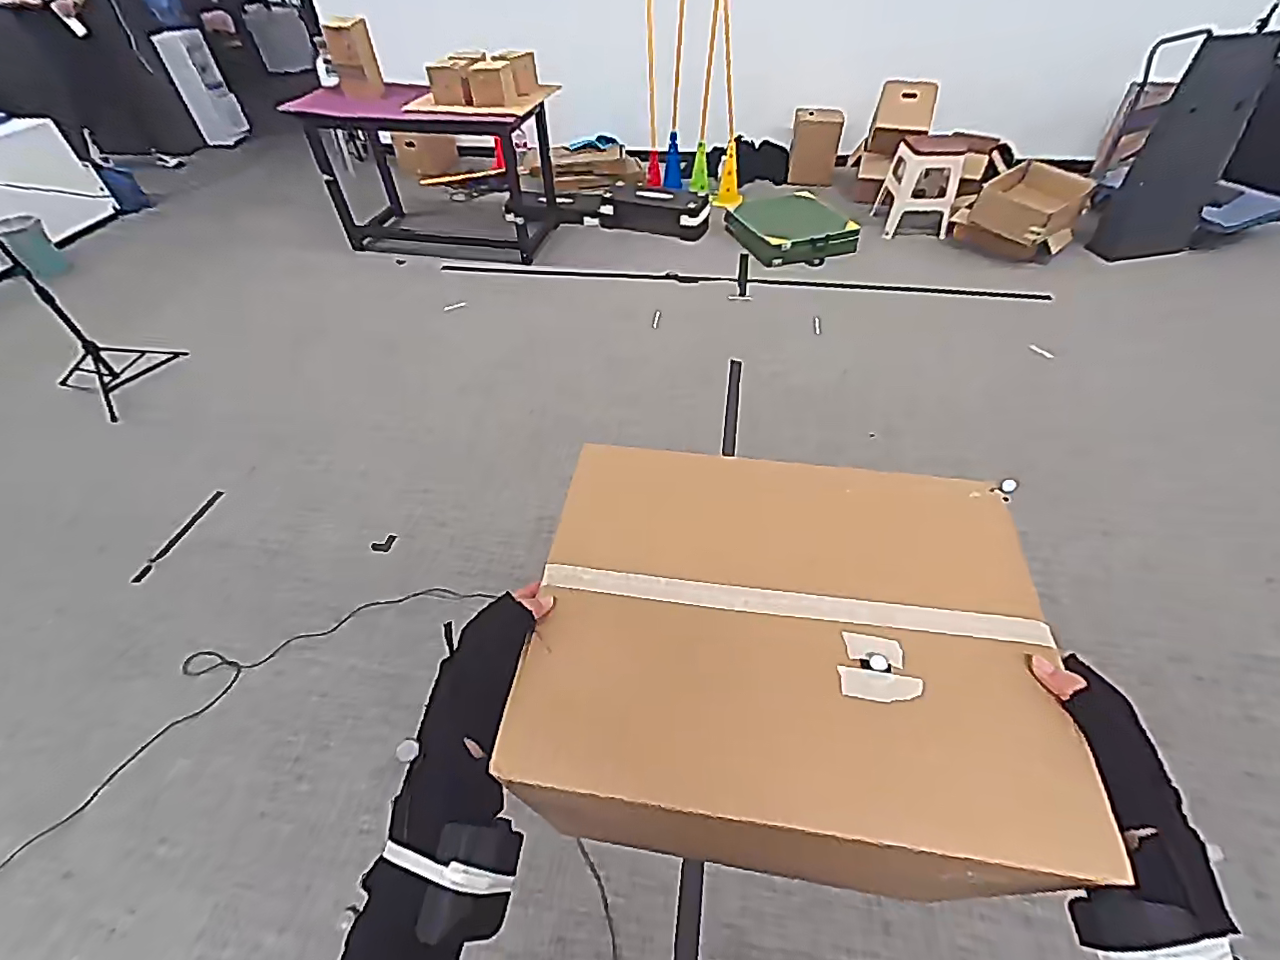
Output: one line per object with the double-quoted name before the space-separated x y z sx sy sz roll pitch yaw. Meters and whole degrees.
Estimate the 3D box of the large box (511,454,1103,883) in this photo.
"large box" 0.124 0.200 0.571 0.408 0.320 0.320 6 52 6
